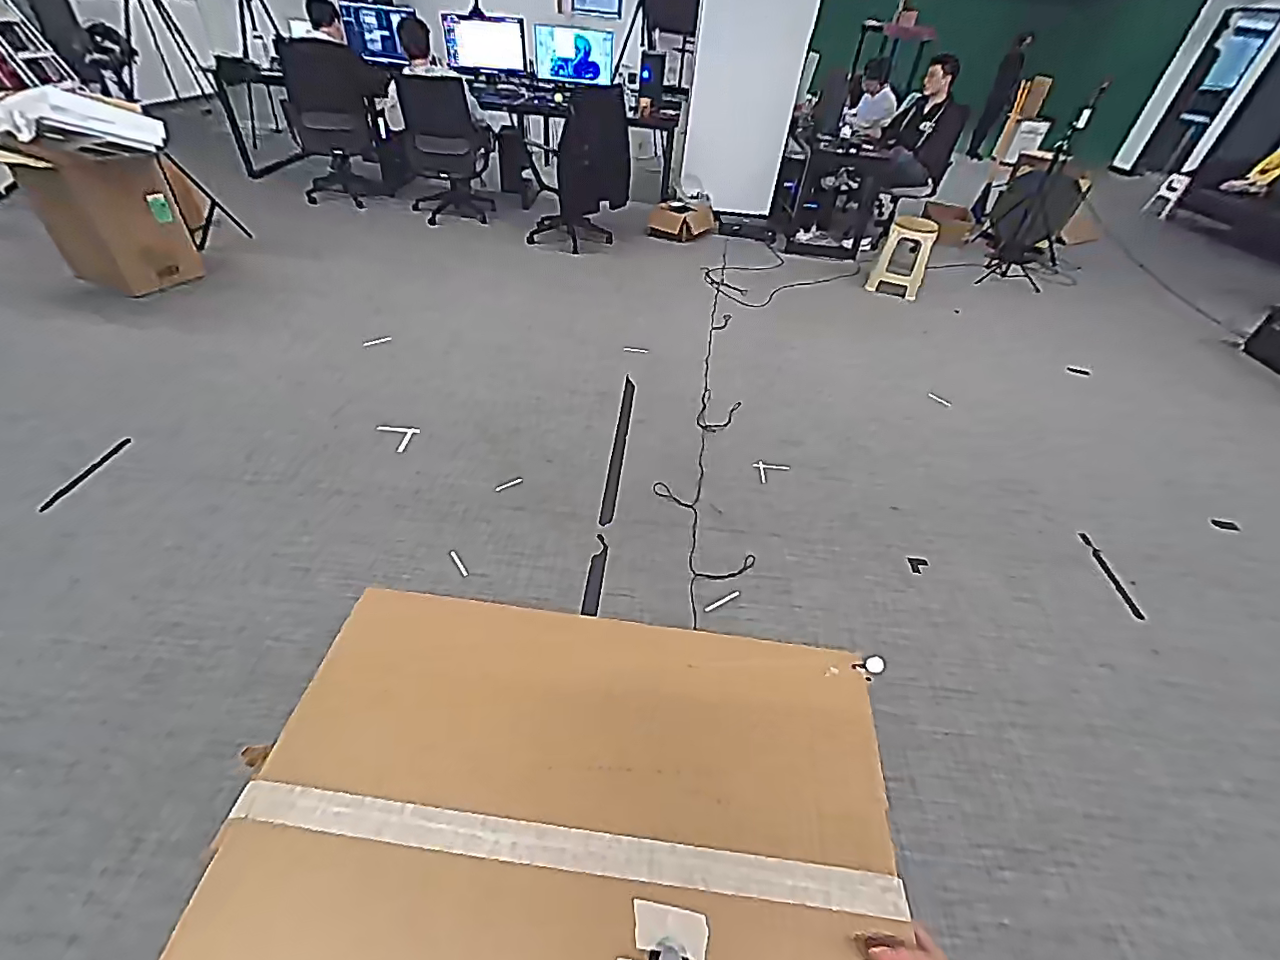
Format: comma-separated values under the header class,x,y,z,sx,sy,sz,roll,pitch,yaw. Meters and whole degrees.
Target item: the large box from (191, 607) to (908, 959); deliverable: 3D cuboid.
class,x,y,z,sx,sy,sz,roll,pitch,yaw
large box,-0.049,0.337,0.441,0.408,0.320,0.320,7,47,2
